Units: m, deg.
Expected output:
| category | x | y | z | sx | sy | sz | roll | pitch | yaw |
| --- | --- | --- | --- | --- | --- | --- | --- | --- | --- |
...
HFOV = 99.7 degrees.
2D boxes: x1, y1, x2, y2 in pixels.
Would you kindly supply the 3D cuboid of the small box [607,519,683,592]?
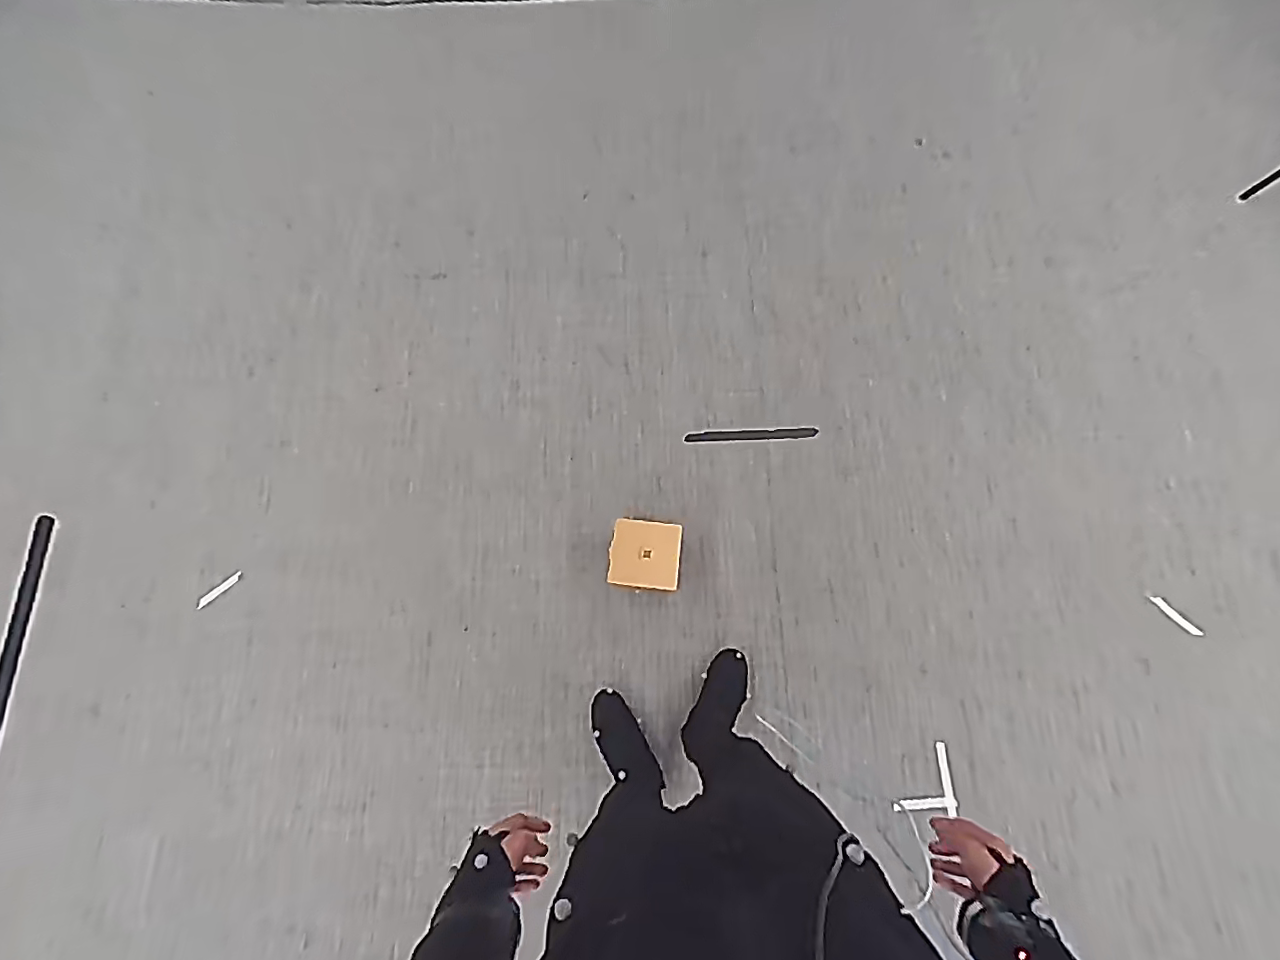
| category | x | y | z | sx | sy | sz | roll | pitch | yaw |
| --- | --- | --- | --- | --- | --- | --- | --- | --- | --- |
| small box | 0.014 | 0.204 | 1.430 | 0.179 | 0.176 | 0.168 | 6 | 76 | 2 |
